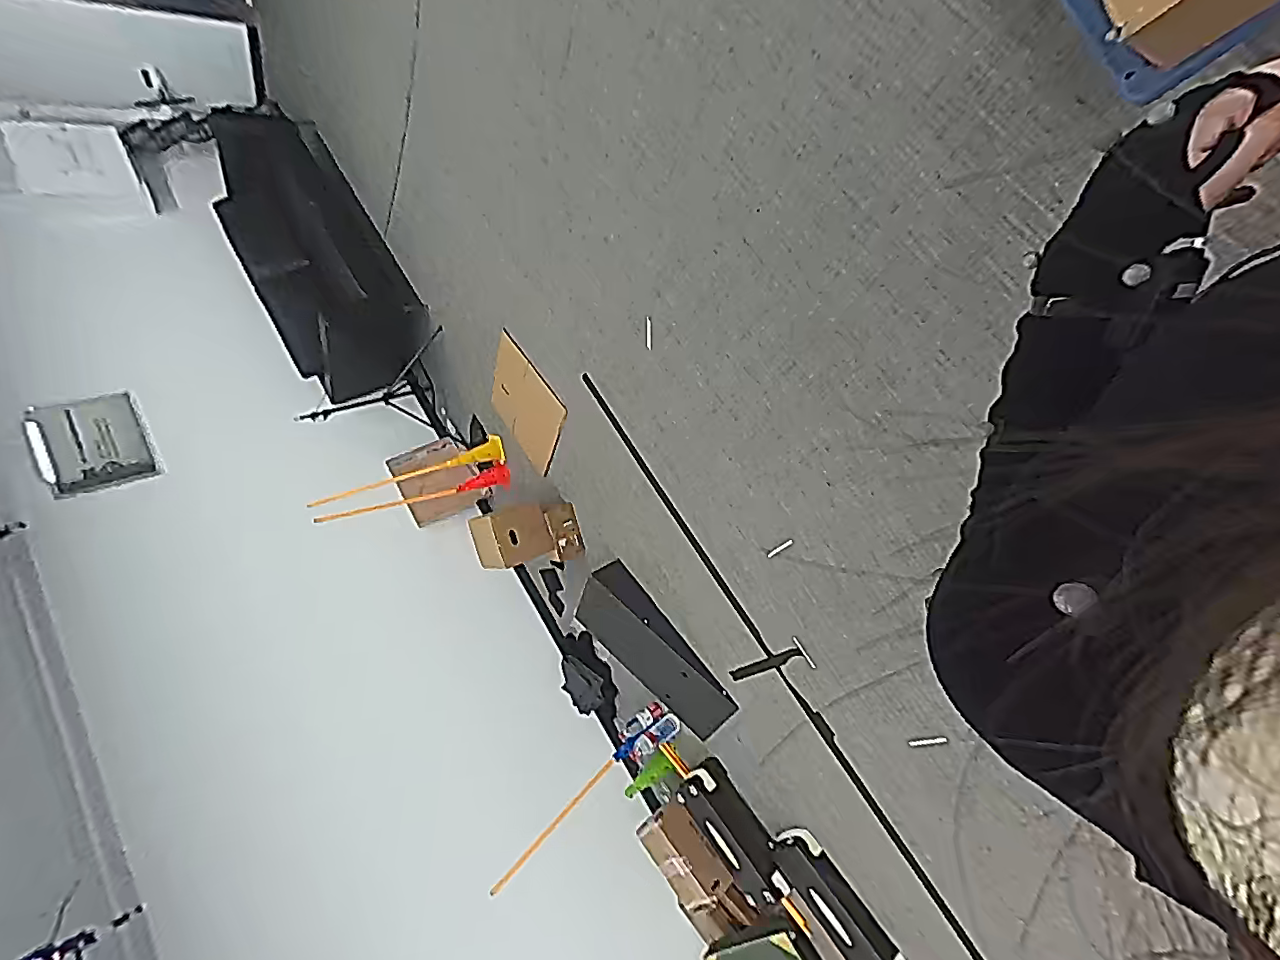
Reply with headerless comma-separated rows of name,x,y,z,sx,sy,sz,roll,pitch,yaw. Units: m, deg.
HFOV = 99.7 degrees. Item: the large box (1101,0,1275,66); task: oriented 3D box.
large box,0.767,-0.783,0.606,0.408,0.320,0.320,-22,90,55
